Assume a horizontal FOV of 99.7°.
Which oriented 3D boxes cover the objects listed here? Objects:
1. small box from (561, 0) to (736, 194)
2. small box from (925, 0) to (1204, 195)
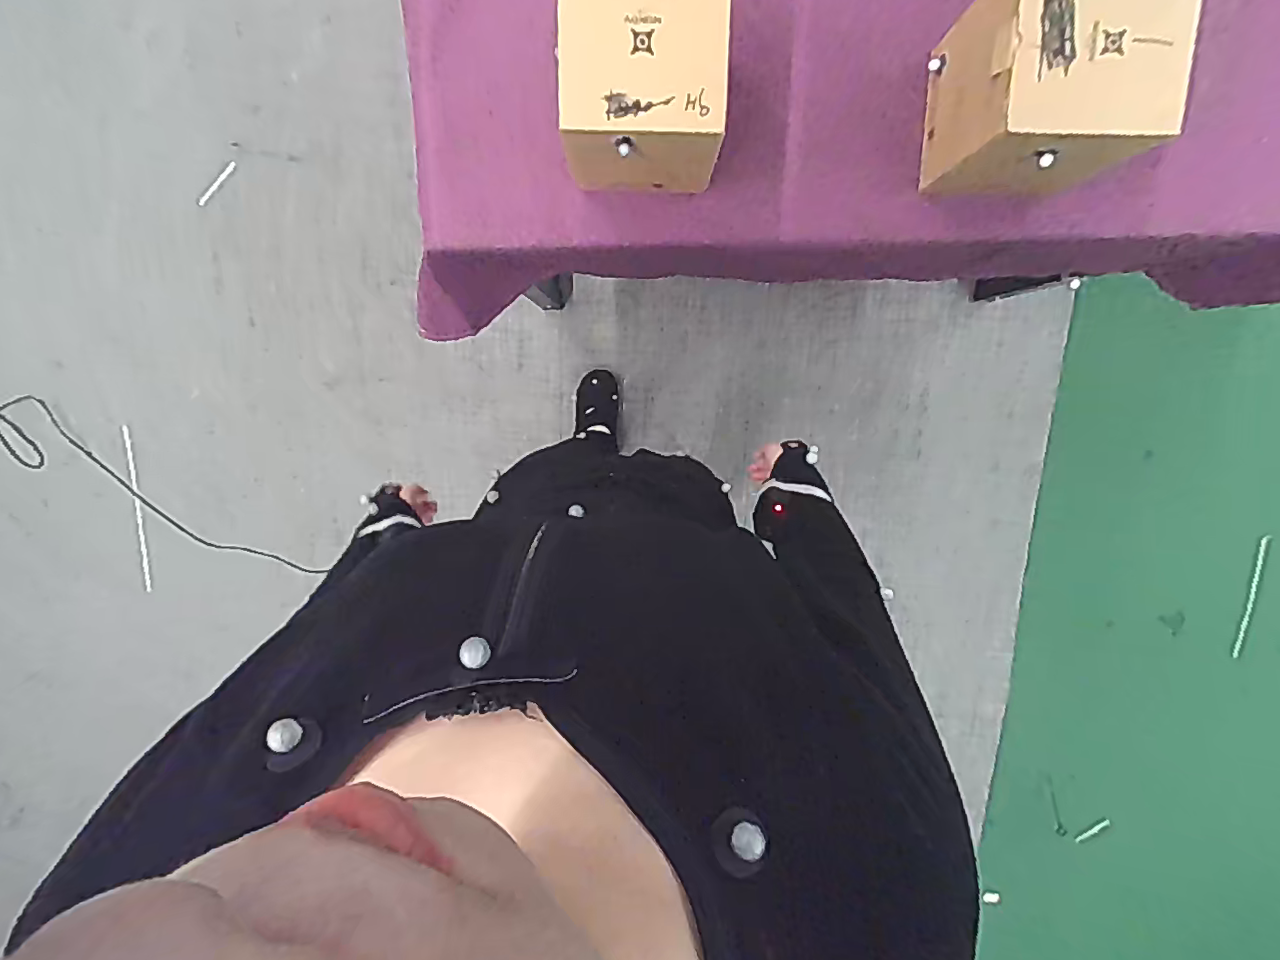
[{"bbox_3d":[0.008,-0.441,0.595,0.168,0.176,0.179,2,100,1],"label":"small box"},{"bbox_3d":[0.444,-0.429,0.594,0.179,0.176,0.168,1,101,0],"label":"small box"}]
